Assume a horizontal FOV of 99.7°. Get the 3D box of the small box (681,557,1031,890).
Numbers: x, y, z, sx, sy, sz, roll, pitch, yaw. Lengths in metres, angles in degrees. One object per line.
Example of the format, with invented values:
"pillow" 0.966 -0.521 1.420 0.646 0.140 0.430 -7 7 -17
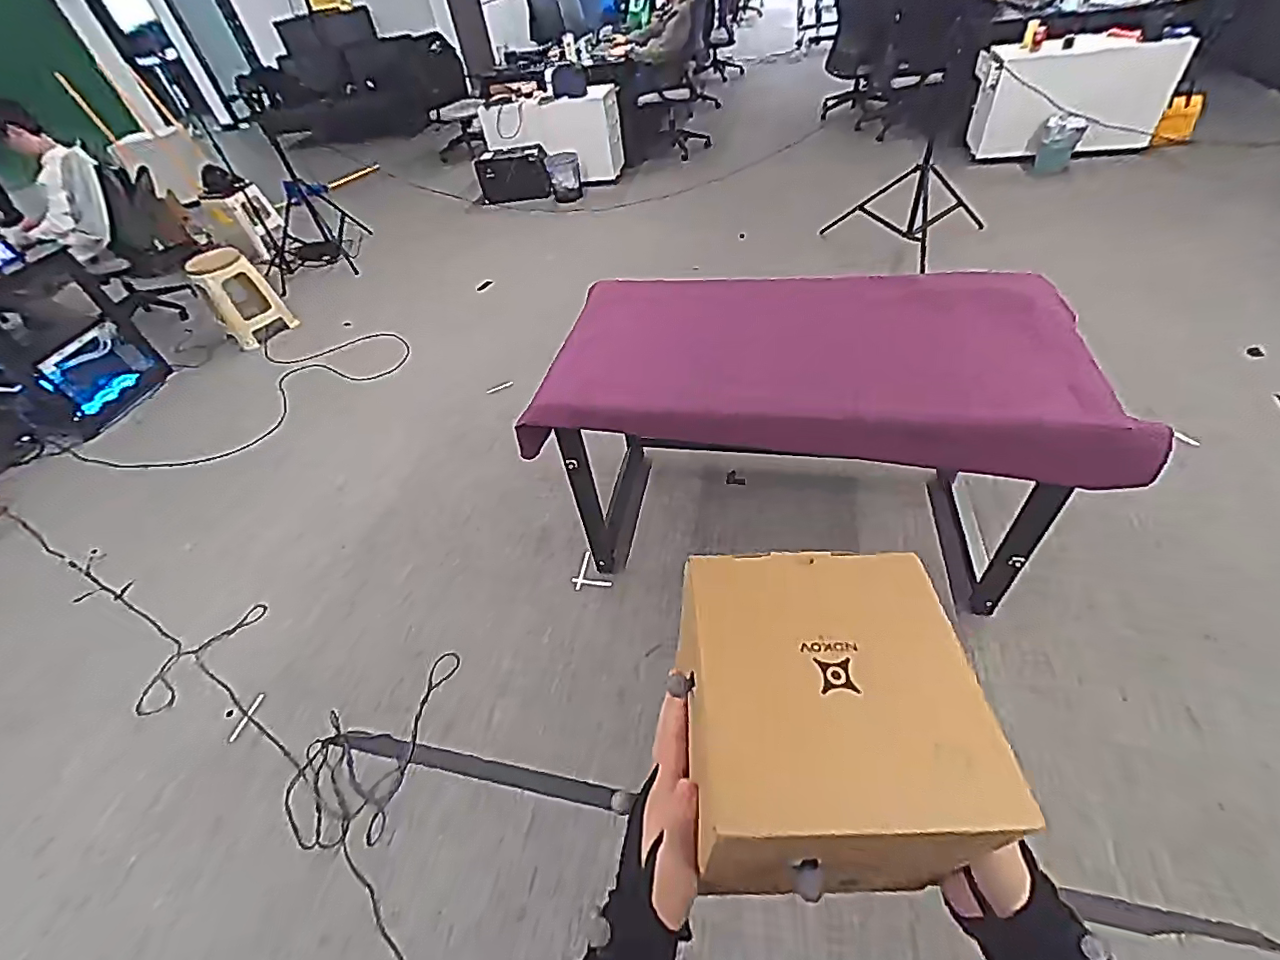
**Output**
"small box" 0.119 0.176 0.388 0.168 0.176 0.179 -1 43 -1
